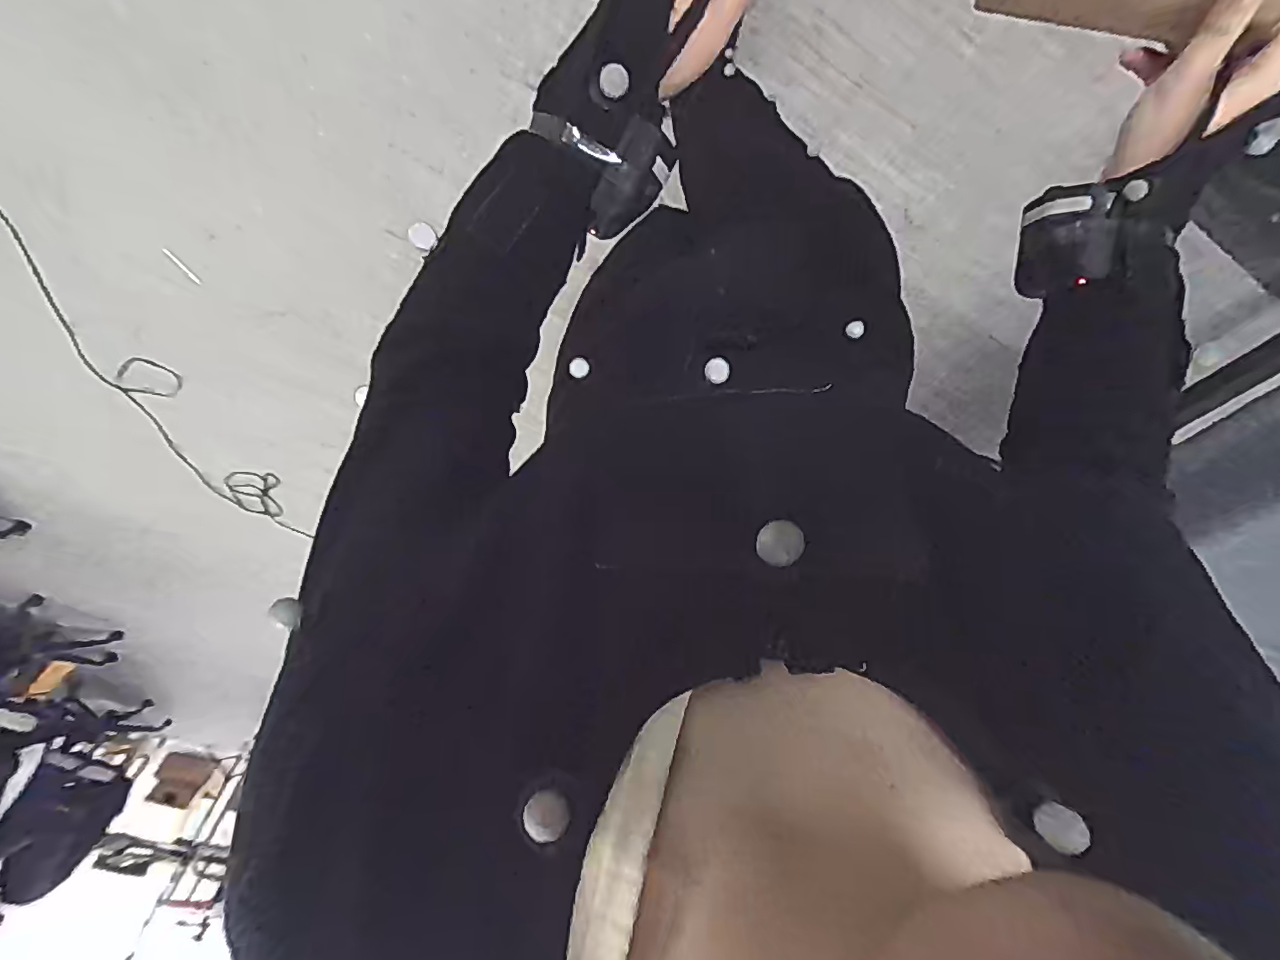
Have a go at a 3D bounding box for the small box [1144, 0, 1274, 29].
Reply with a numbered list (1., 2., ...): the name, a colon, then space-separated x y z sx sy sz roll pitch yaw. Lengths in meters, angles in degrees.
1. small box: 0.309 -0.390 0.274 0.176 0.179 0.168 31 179 21
